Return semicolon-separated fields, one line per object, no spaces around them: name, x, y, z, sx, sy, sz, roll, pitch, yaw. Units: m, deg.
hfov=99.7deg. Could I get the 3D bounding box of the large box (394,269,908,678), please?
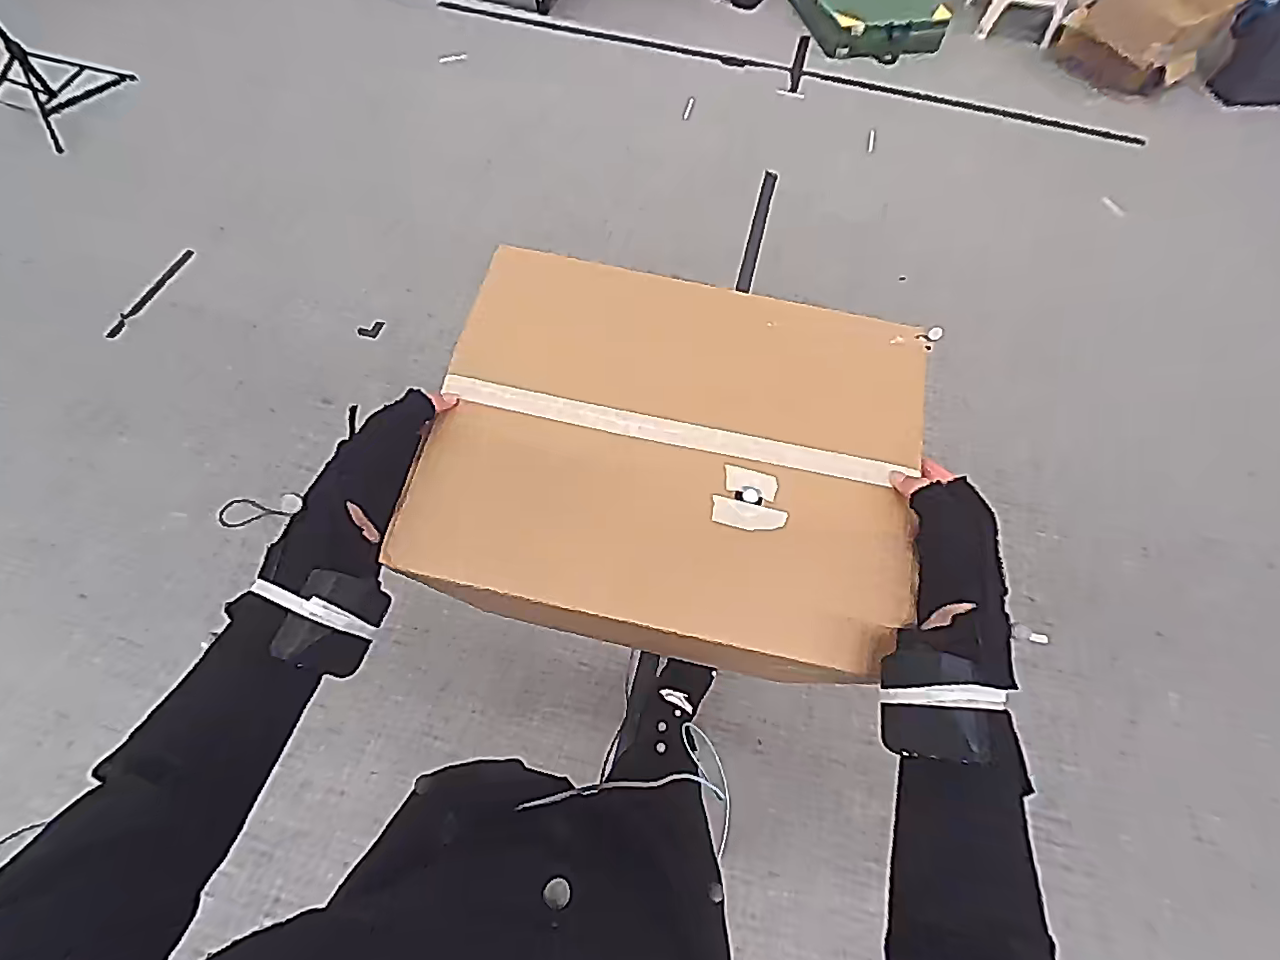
large box;0.022;0.023;0.603;0.408;0.320;0.320;12;71;2
